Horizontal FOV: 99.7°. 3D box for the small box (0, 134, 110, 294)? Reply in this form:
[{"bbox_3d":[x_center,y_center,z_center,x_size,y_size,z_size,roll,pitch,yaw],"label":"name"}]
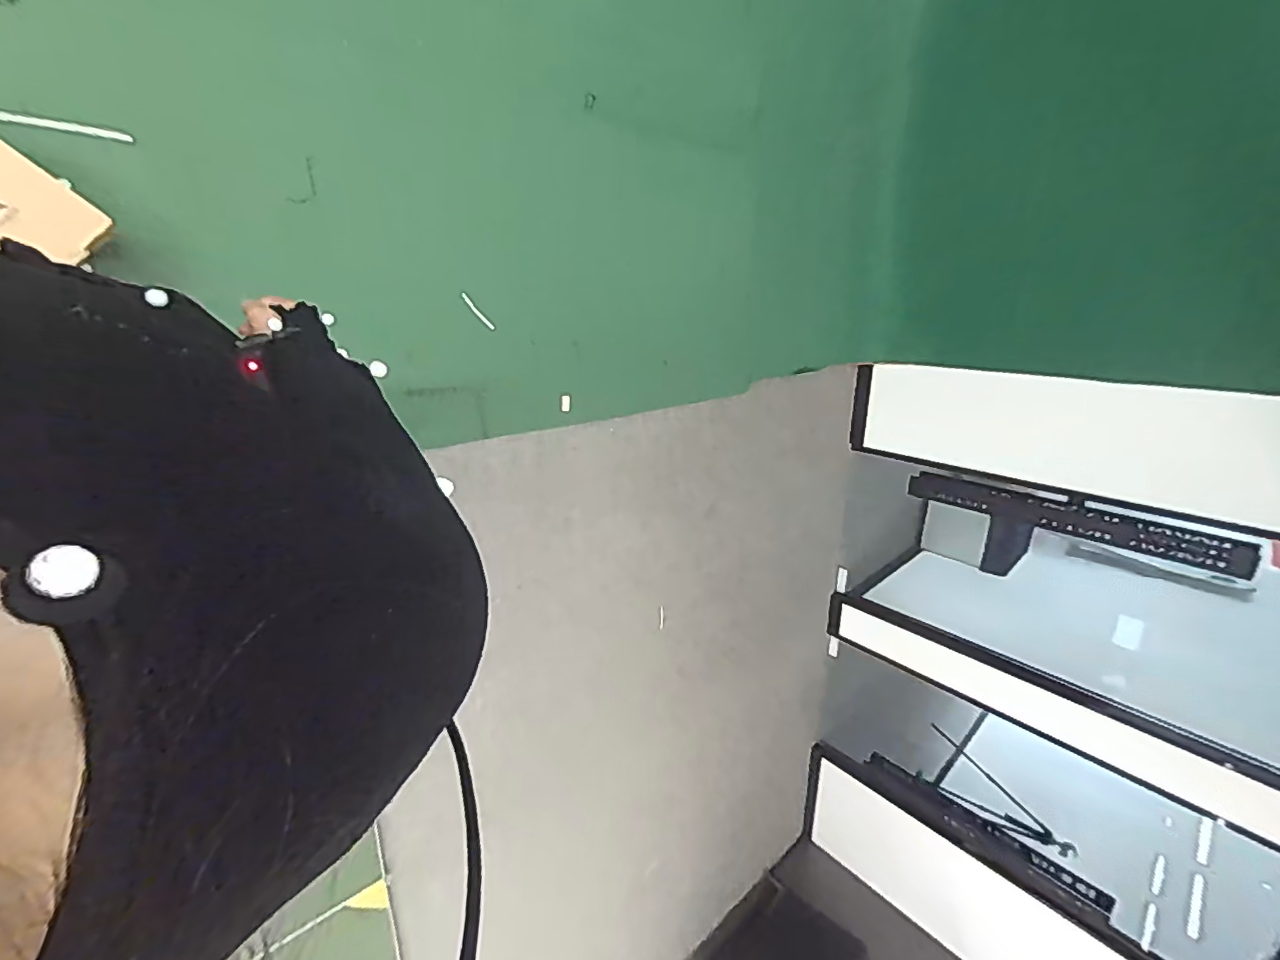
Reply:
[{"bbox_3d":[-0.948,-0.403,0.804,0.168,0.176,0.179,-57,135,-13],"label":"small box"}]
